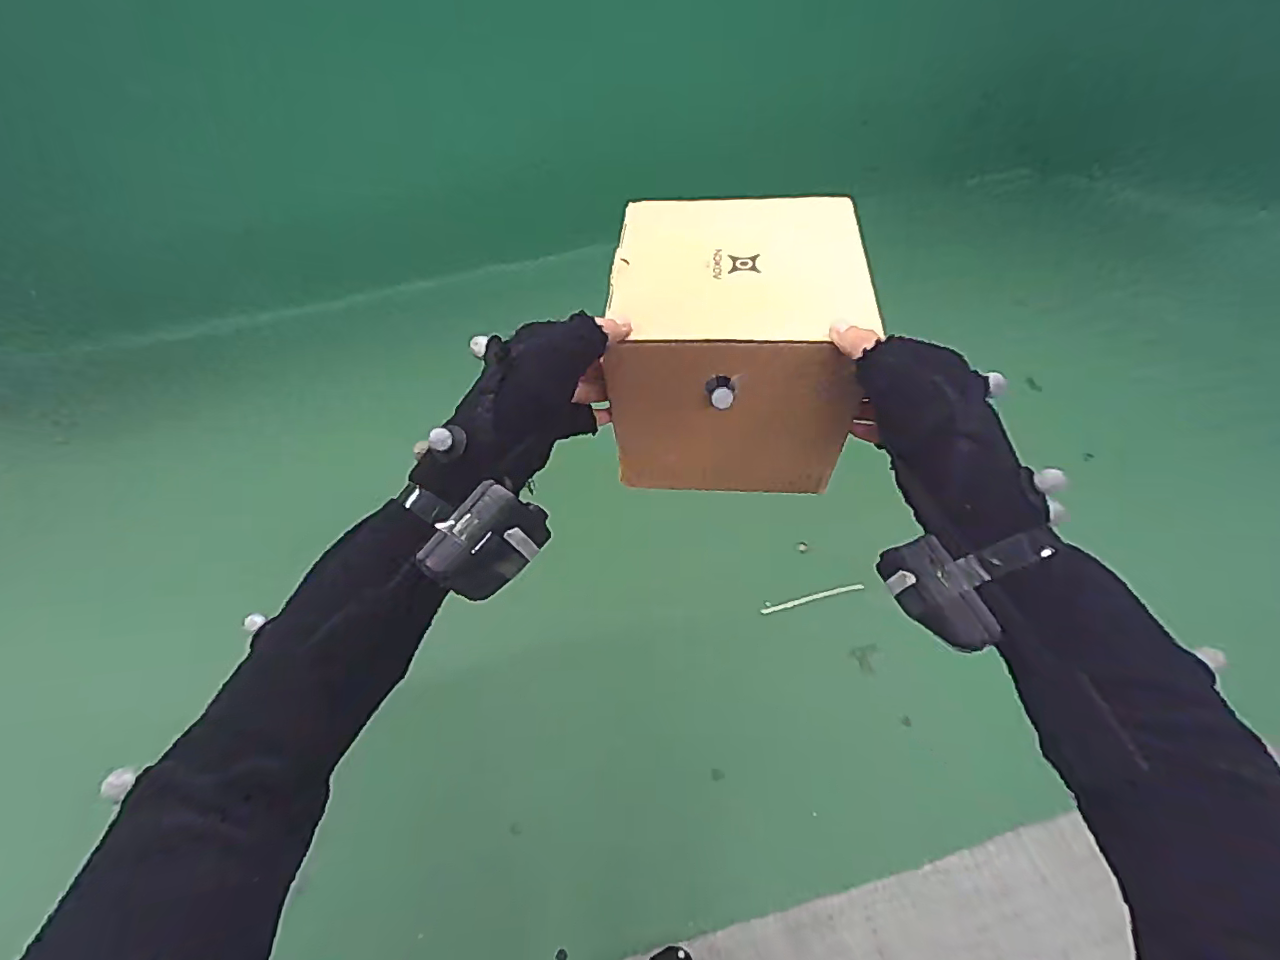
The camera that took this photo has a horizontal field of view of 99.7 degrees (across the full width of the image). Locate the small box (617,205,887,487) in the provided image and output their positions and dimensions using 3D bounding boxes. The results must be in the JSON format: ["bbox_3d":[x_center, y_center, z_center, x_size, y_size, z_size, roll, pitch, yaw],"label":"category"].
[{"bbox_3d":[0.083,-0.106,0.458,0.179,0.176,0.168,2,55,7],"label":"small box"}]
